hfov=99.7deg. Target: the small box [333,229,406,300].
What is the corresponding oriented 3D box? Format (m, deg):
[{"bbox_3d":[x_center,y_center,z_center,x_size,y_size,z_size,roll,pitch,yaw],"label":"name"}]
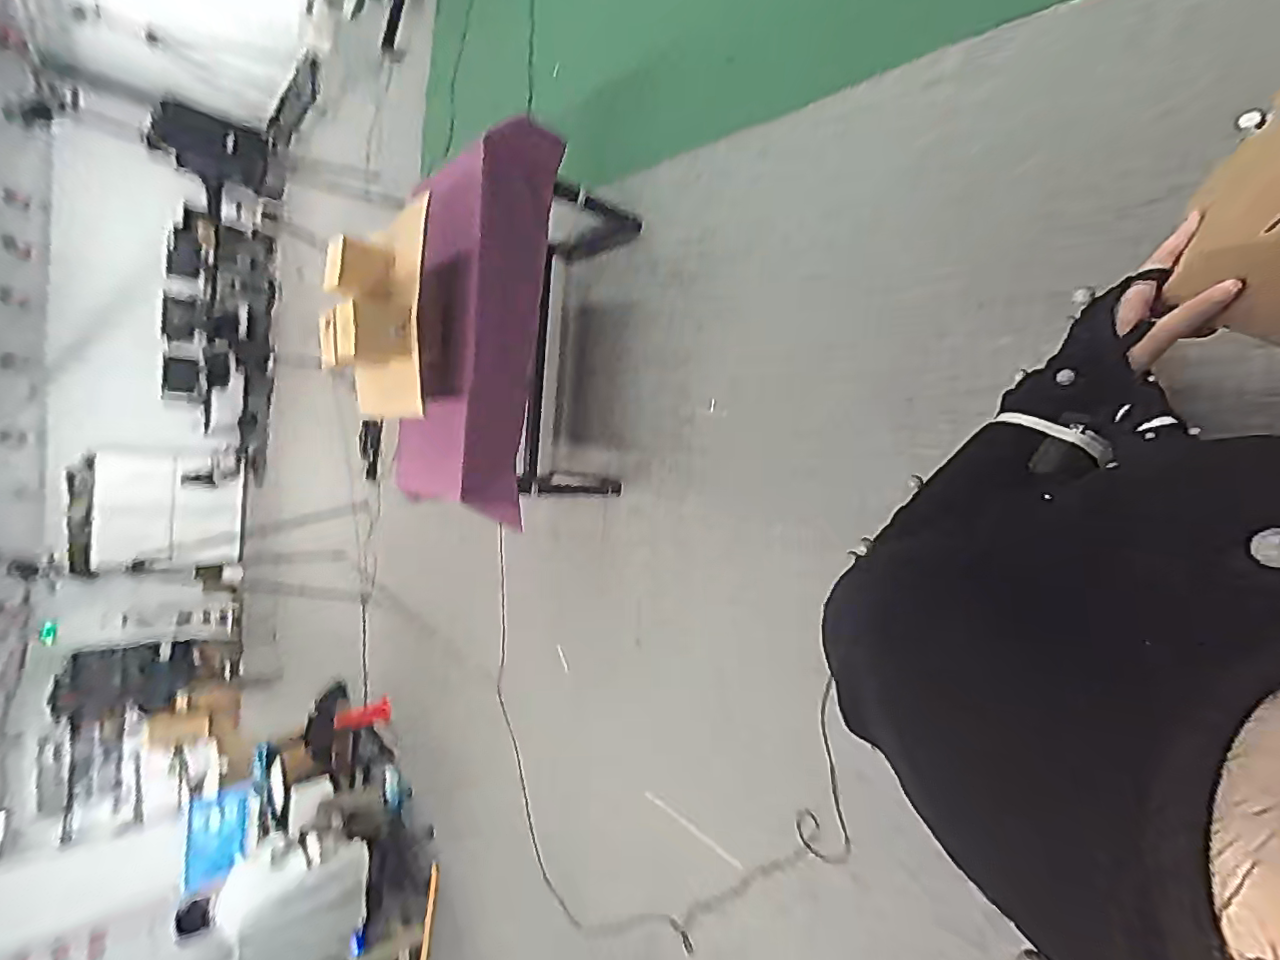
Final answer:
[{"bbox_3d":[-0.925,-0.727,1.846,0.179,0.176,0.168,10,93,46],"label":"small box"}]
